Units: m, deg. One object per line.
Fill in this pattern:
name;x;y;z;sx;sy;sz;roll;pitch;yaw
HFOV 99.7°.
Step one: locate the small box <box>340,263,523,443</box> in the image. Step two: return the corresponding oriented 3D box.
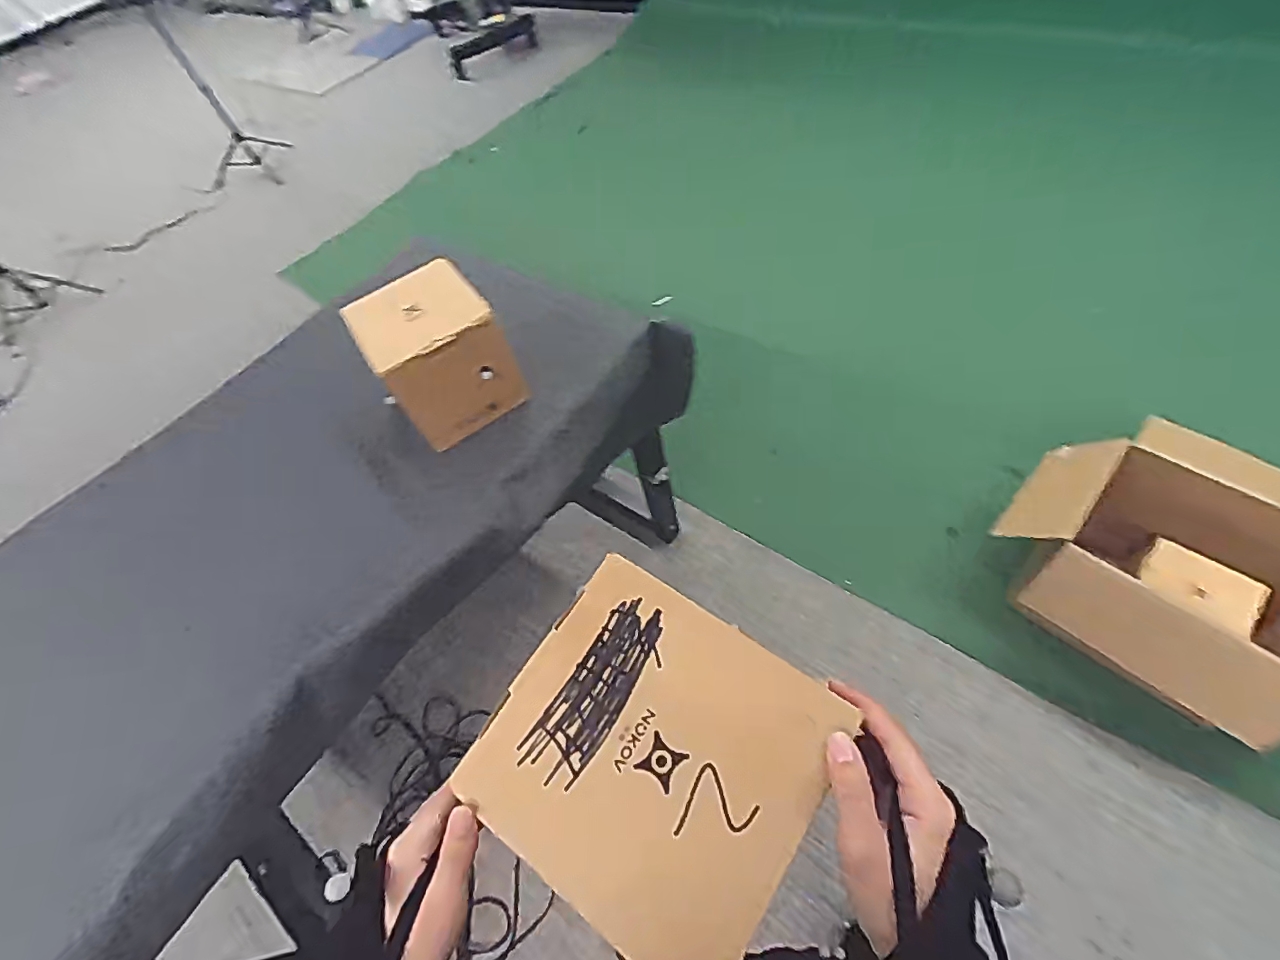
small box;-0.298;-0.178;0.797;0.168;0.176;0.179;-34;56;-14
